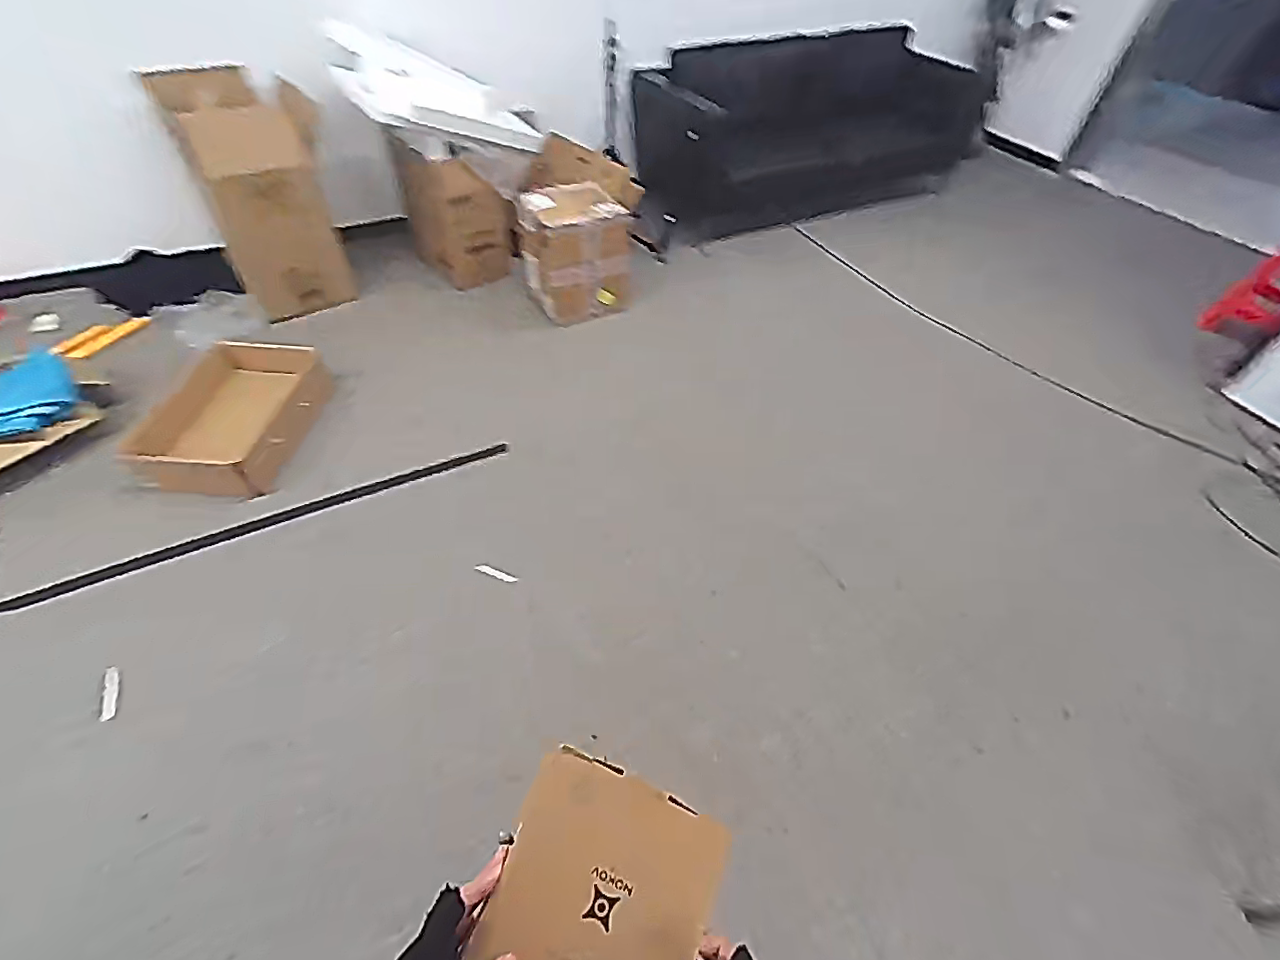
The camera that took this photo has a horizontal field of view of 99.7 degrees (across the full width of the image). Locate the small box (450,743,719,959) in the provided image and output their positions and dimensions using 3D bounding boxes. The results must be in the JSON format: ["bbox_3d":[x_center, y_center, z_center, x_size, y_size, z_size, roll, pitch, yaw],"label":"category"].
[{"bbox_3d":[-0.055,0.365,0.481,0.168,0.176,0.179,26,56,1],"label":"small box"}]
